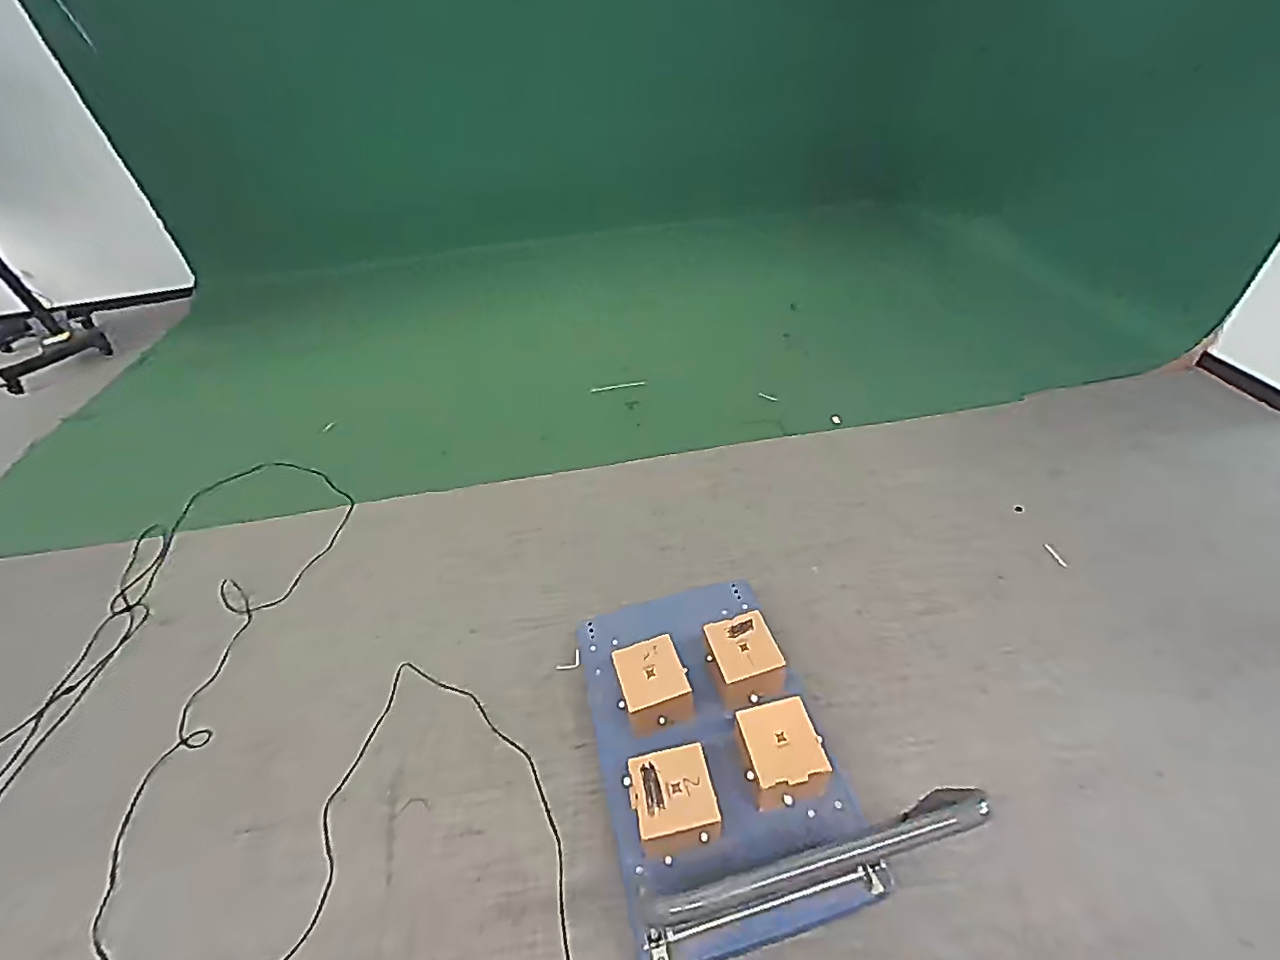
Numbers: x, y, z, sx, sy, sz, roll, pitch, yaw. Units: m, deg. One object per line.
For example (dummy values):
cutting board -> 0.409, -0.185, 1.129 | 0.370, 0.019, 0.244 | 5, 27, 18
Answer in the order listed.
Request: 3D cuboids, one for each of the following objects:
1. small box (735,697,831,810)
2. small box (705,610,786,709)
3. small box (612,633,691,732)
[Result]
small box -> 0.332, 0.657, 1.298 | 0.168, 0.176, 0.179 | -12, 42, -5
small box -> 0.280, 0.491, 1.477 | 0.168, 0.176, 0.179 | -15, 44, -7
small box -> 0.033, 0.548, 1.446 | 0.168, 0.176, 0.179 | -15, 44, -10
